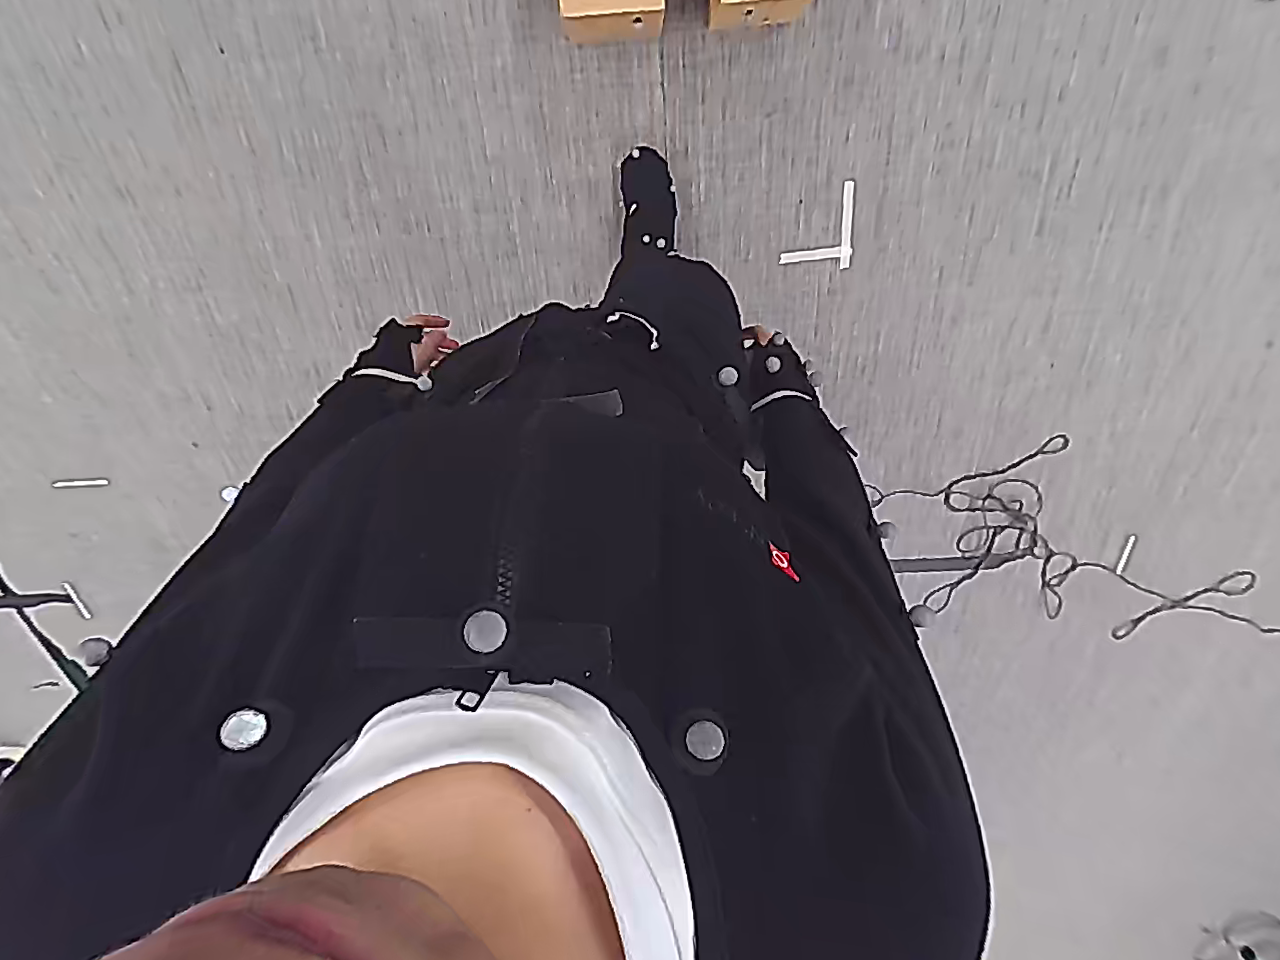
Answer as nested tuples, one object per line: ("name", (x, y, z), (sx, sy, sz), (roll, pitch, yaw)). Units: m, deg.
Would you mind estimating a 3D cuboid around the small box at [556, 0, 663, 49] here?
("small box", (-0.054, -0.865, 0.926), (0.179, 0.176, 0.168), (-3, 117, 1))
